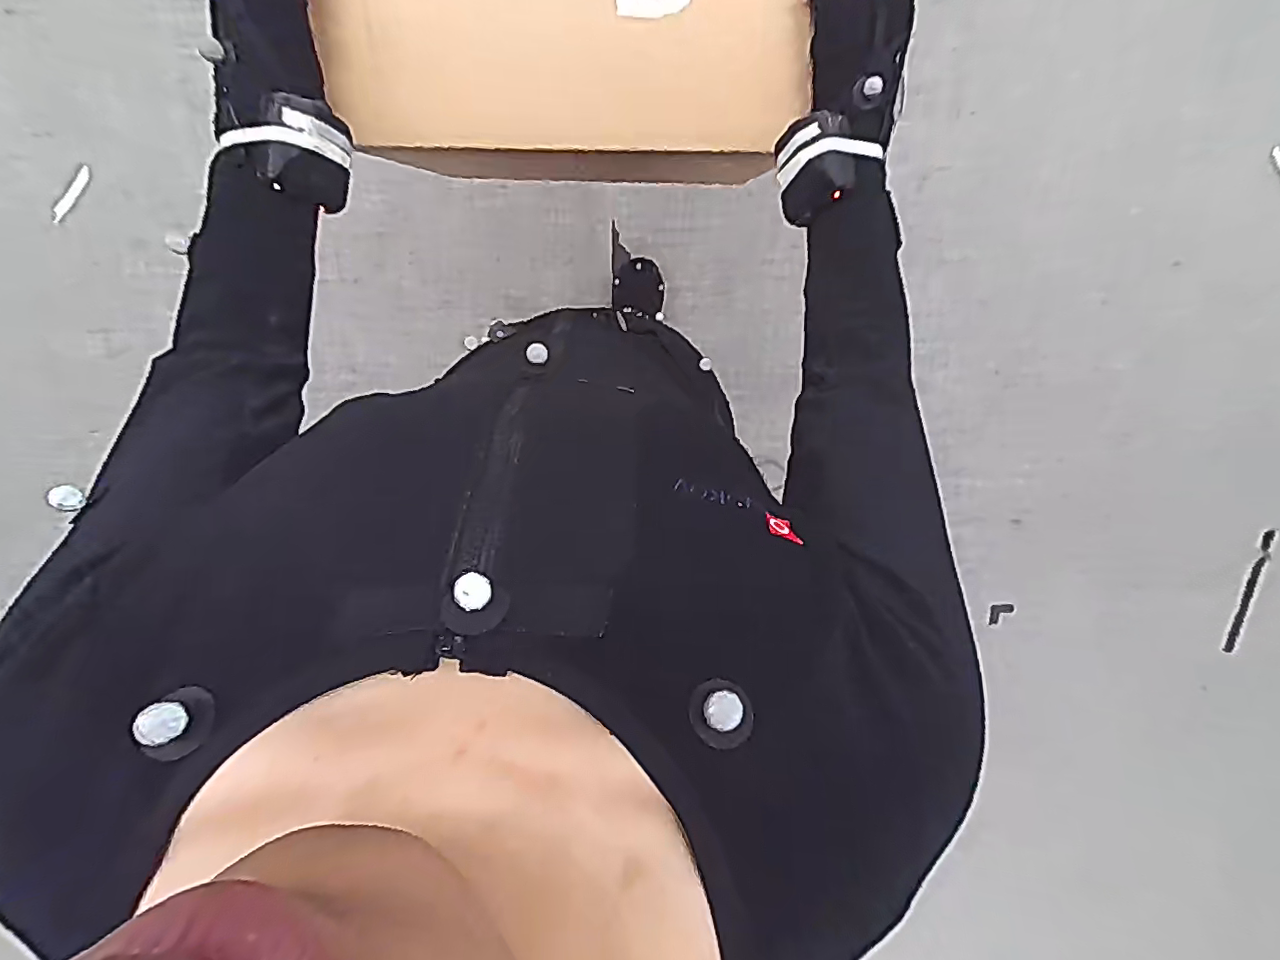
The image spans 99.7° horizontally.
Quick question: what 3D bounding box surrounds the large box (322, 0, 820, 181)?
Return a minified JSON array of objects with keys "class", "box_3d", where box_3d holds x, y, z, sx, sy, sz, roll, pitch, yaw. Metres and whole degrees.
[{"class":"large box","box_3d":[-0.058,-0.494,0.543,0.408,0.320,0.320,0,115,-1]}]
